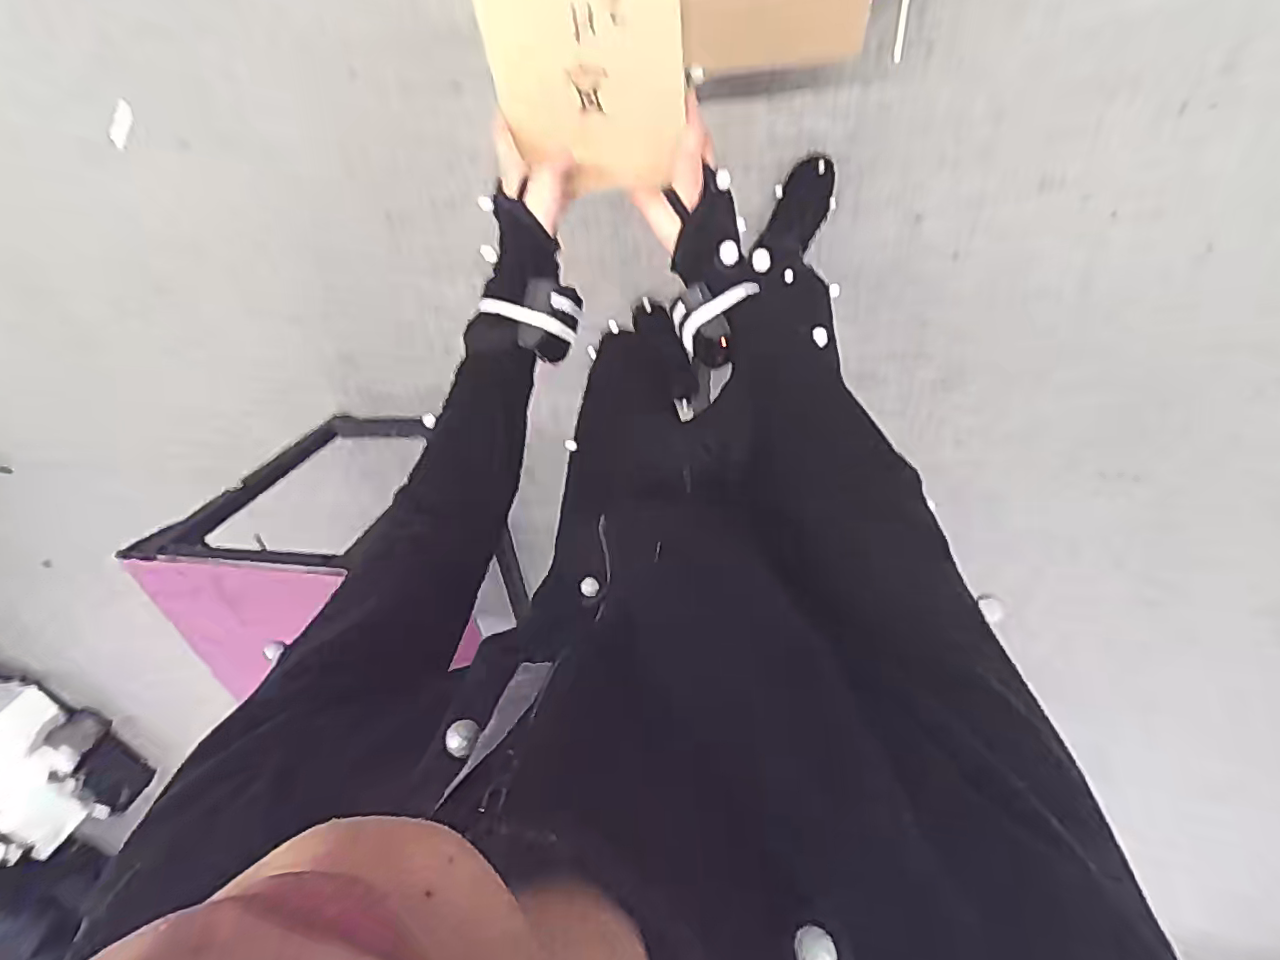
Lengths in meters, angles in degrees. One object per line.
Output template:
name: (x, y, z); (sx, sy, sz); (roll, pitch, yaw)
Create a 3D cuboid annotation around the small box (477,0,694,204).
small box: (-0.034, -0.393, 0.519); (0.168, 0.176, 0.179); (0, 138, 8)
